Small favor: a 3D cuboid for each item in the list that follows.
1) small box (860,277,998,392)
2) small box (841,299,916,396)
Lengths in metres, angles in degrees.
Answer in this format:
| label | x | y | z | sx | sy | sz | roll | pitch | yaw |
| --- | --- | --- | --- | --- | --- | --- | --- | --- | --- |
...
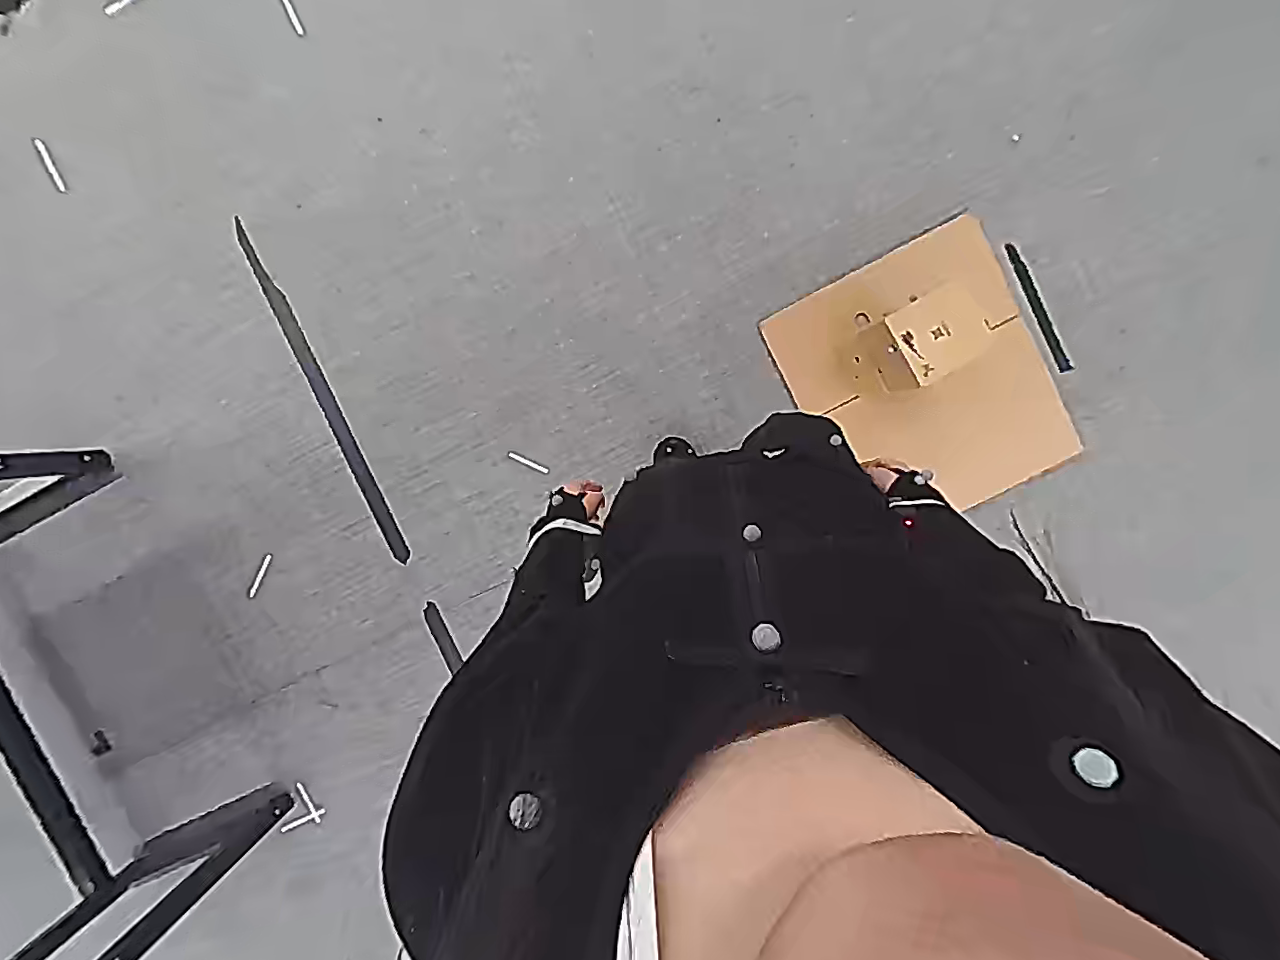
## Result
| label | x | y | z | sx | sy | sz | roll | pitch | yaw |
| --- | --- | --- | --- | --- | --- | --- | --- | --- | --- |
| small box | 0.615 | -0.306 | 1.175 | 0.179 | 0.176 | 0.168 | -30 | 93 | 5 |
| small box | 0.622 | -0.320 | 1.338 | 0.179 | 0.176 | 0.168 | -29 | 93 | 5 |
